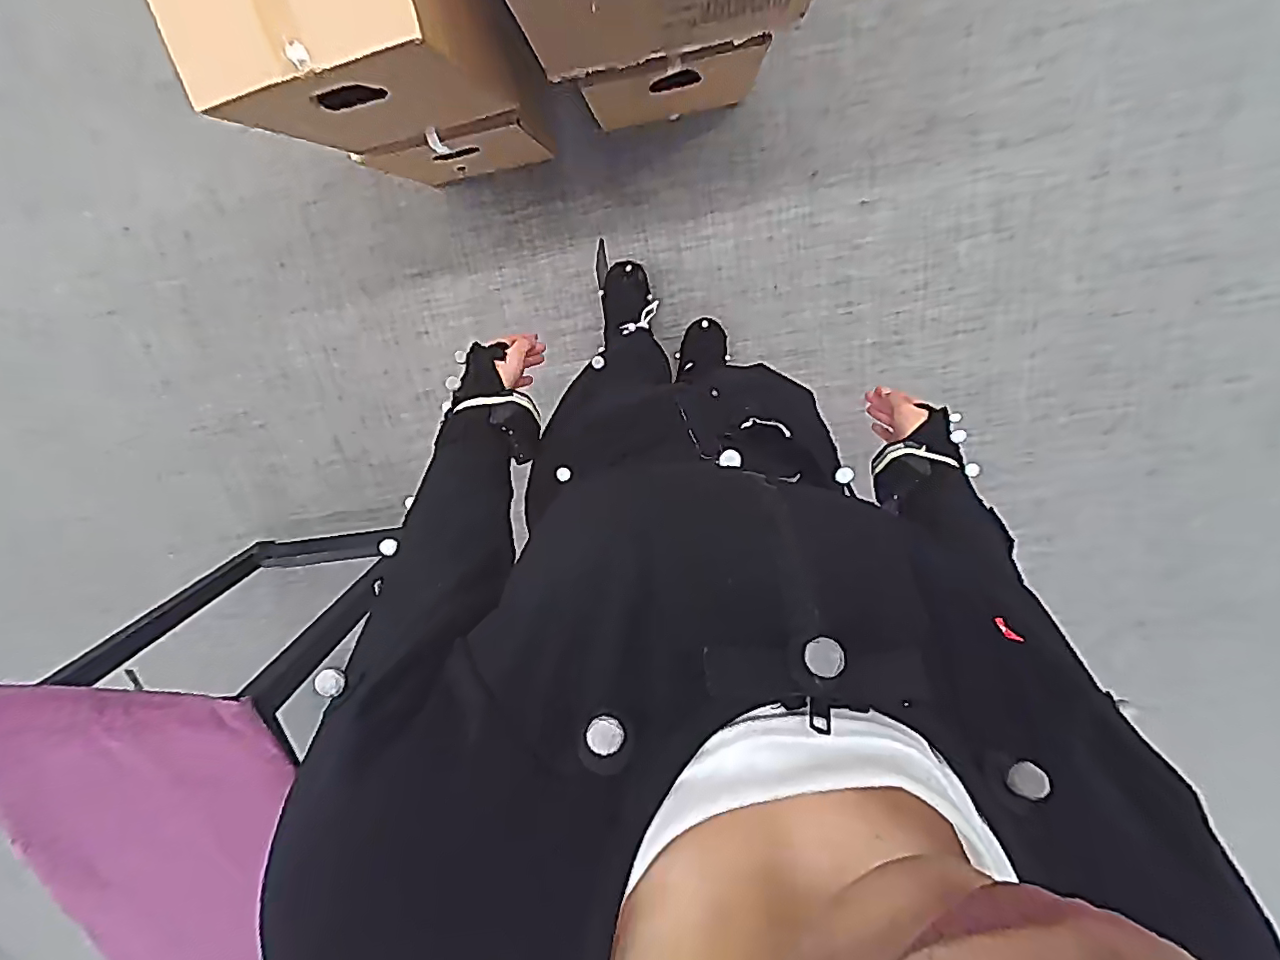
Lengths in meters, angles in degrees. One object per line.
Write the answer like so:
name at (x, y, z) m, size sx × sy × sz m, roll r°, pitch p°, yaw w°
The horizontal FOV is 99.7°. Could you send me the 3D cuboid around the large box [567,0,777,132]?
large box at (0.031, -0.890, 0.927) m, size 0.320 × 0.320 × 0.408 m, roll -9°, pitch 111°, yaw 8°
